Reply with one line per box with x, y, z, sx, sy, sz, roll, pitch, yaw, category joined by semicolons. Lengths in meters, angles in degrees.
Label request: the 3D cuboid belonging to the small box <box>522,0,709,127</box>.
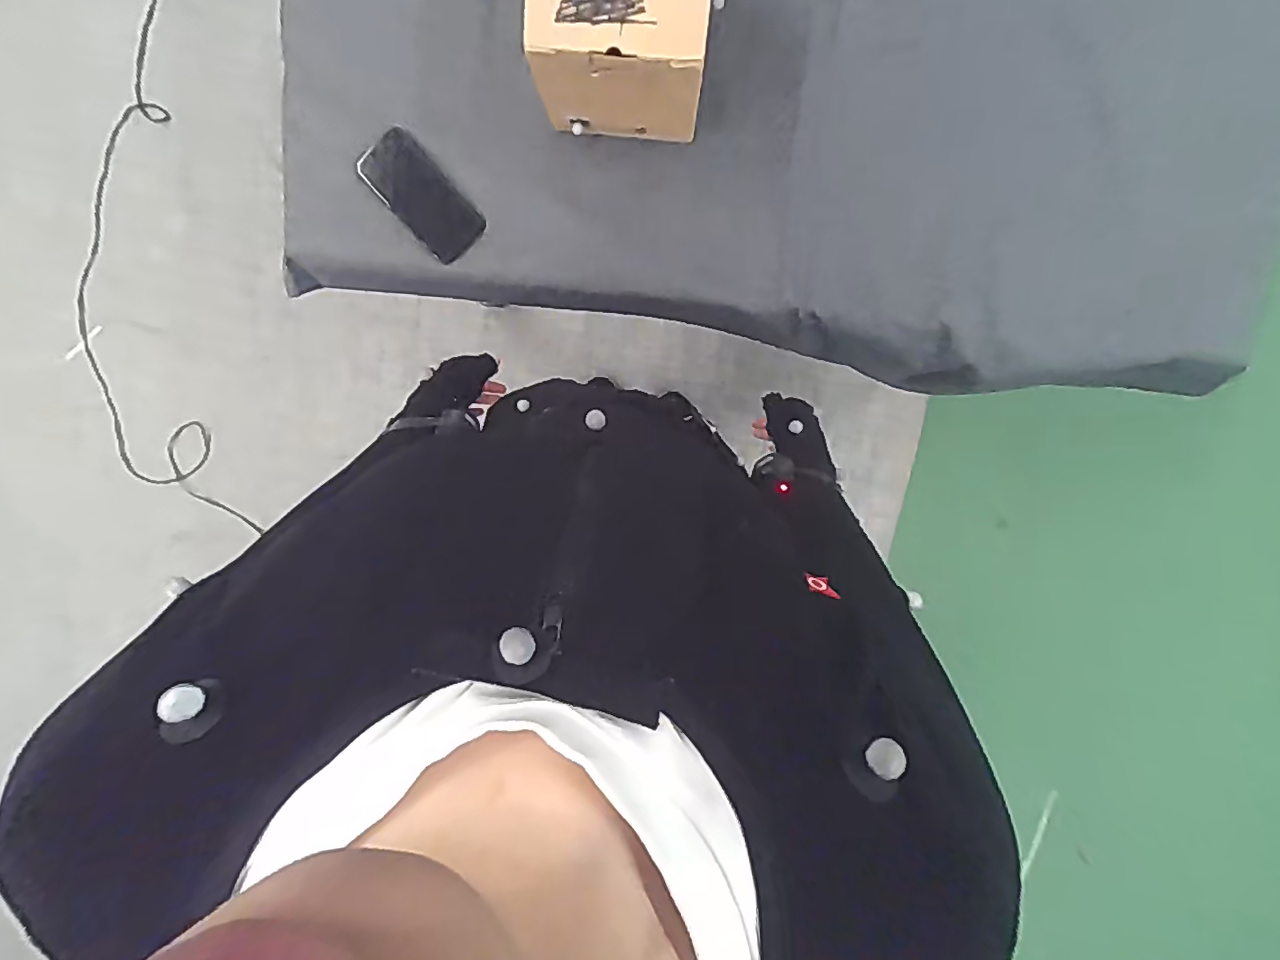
-0.014;-0.487;0.543;0.168;0.176;0.179;6;101;0;small box
